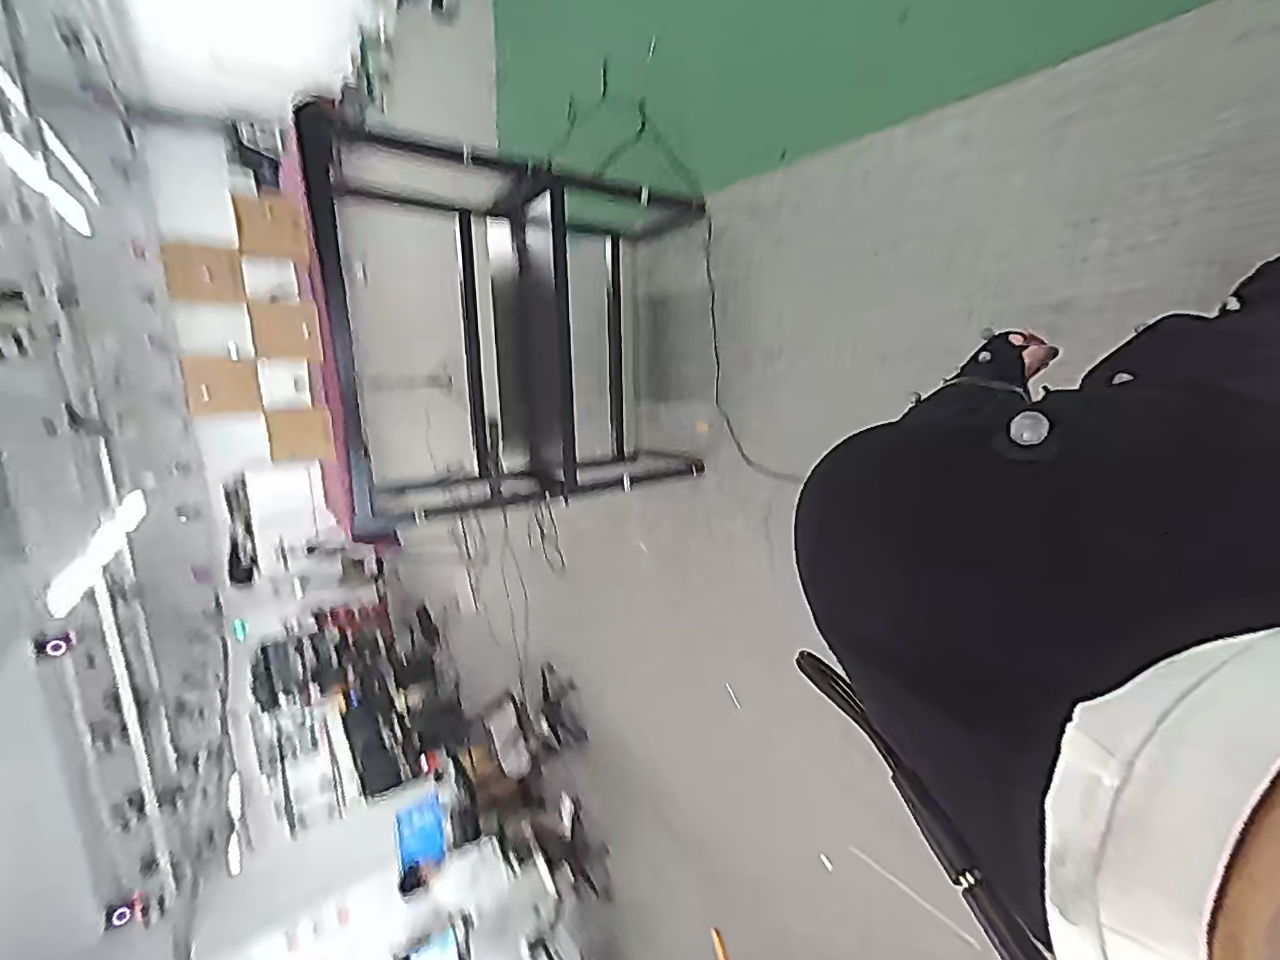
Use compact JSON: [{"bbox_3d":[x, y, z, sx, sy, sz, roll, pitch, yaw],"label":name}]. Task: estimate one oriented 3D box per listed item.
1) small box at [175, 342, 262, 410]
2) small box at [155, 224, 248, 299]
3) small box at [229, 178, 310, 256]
[{"bbox_3d":[-1.168,-0.294,1.513,0.168,0.176,0.179,19,111,53],"label":"small box"},{"bbox_3d":[-1.172,-0.582,1.457,0.179,0.176,0.168,22,114,52],"label":"small box"},{"bbox_3d":[-1.035,-0.730,1.519,0.179,0.176,0.168,23,115,52],"label":"small box"}]
